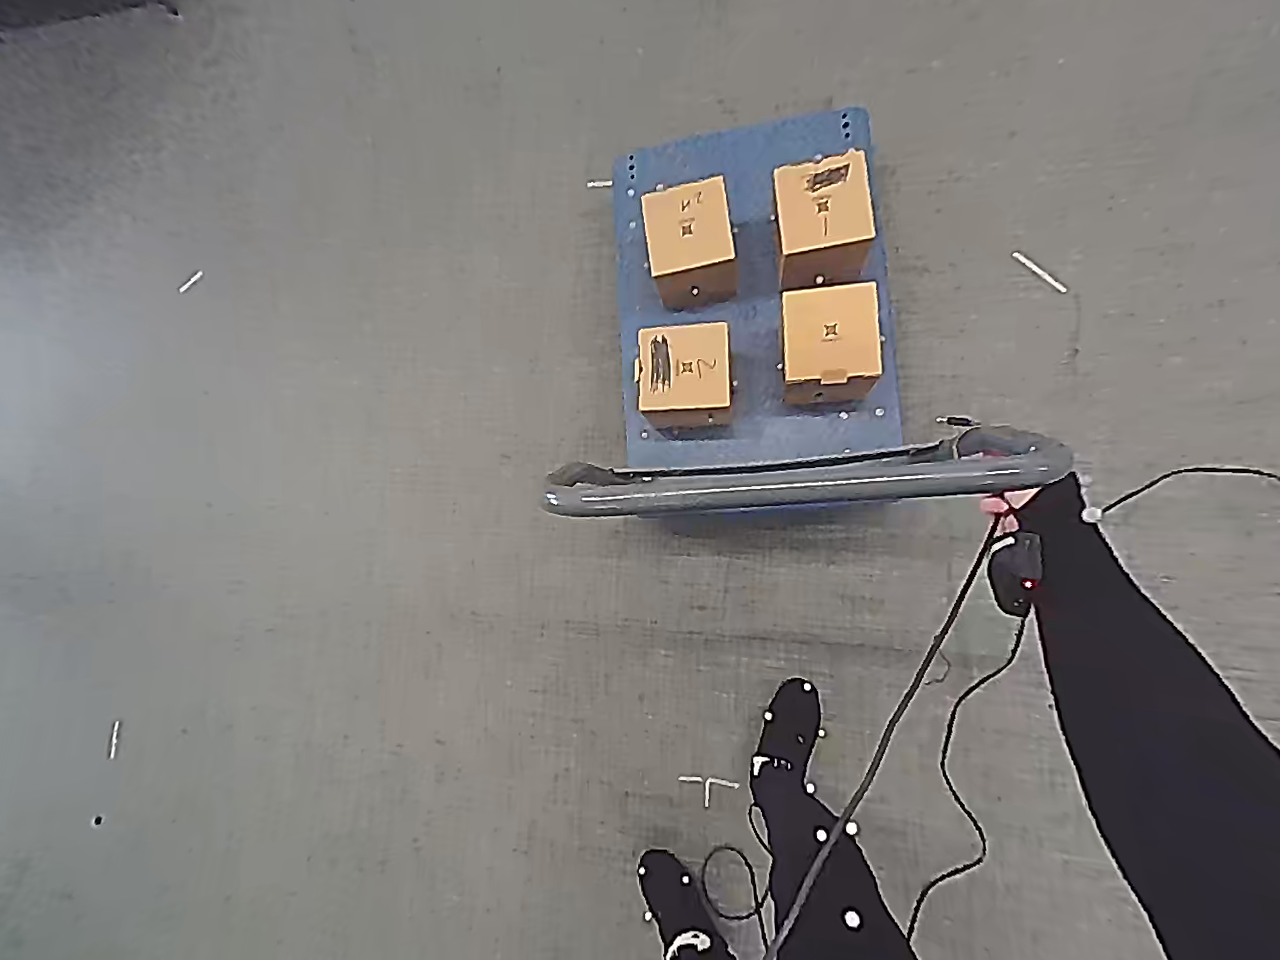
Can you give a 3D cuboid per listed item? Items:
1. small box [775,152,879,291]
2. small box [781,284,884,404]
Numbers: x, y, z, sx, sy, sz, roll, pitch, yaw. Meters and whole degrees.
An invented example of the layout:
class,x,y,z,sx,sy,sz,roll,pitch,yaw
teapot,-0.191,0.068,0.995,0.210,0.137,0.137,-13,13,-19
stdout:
class,x,y,z,sx,sy,sz,roll,pitch,yaw
small box,0.363,-0.504,1.077,0.168,0.176,0.179,-6,84,12
small box,0.366,-0.256,1.052,0.168,0.176,0.179,-2,85,12
